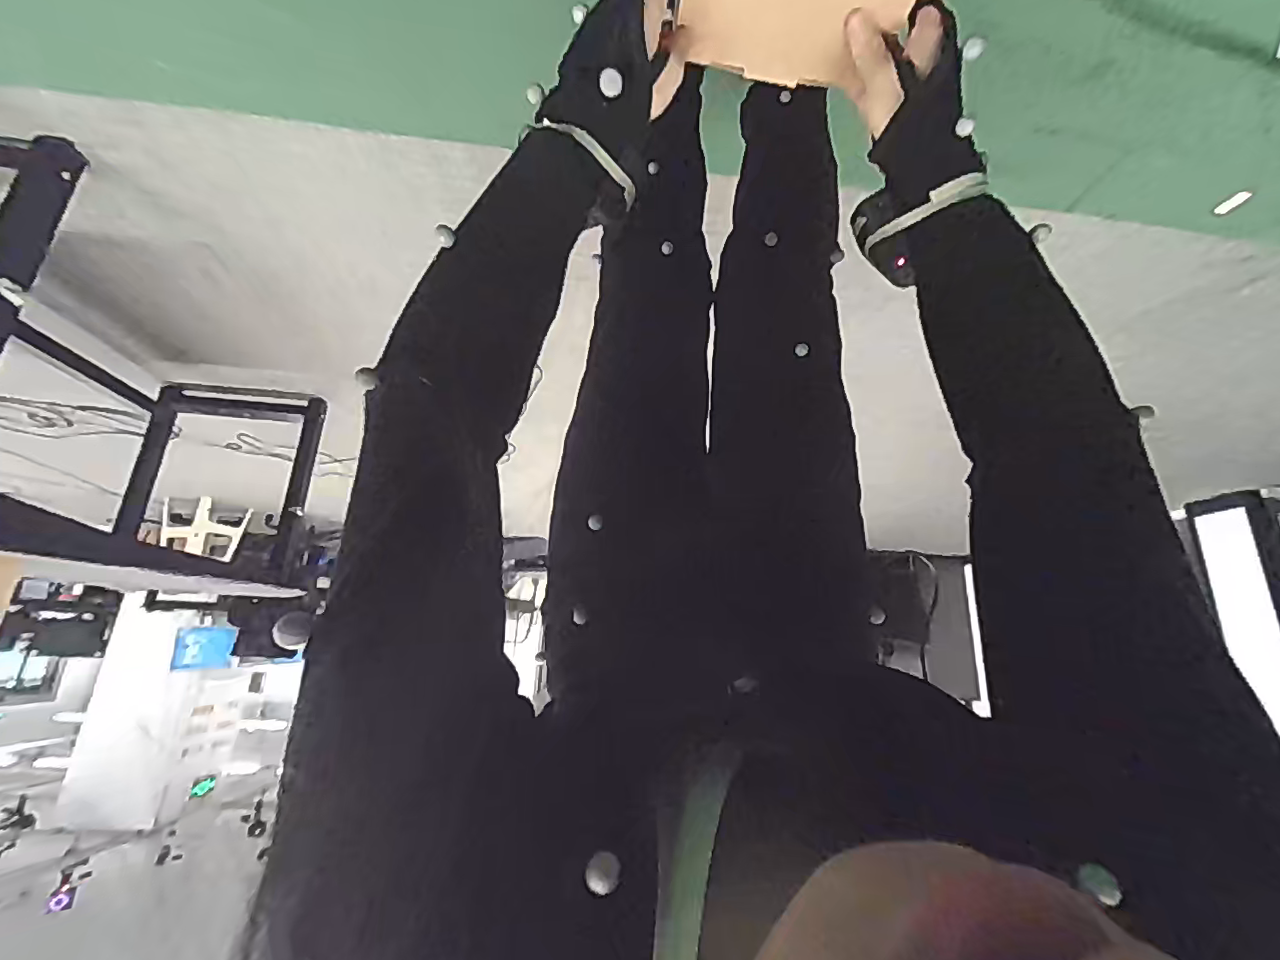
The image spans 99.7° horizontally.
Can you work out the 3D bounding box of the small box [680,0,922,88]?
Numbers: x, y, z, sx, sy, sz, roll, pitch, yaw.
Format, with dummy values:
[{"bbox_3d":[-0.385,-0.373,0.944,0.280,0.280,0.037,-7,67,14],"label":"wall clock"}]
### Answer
[{"bbox_3d":[0.125,-0.429,0.377,0.168,0.176,0.179,6,159,-5],"label":"small box"}]
